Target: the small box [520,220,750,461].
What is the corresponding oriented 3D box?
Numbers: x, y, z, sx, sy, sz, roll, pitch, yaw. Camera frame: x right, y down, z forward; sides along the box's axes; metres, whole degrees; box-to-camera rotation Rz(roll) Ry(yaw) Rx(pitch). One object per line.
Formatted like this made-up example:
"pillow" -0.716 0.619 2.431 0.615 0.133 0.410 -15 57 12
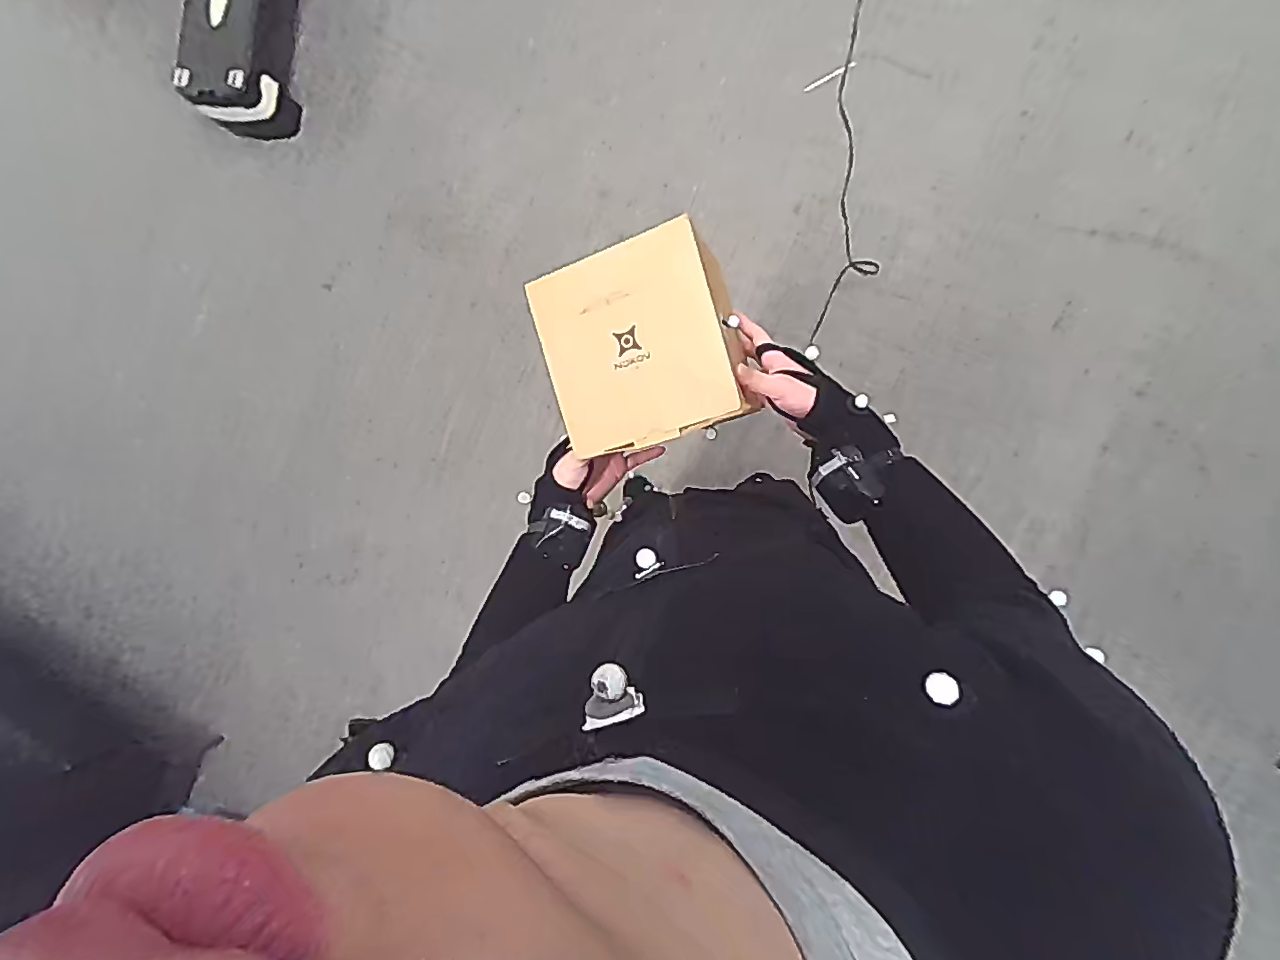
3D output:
"small box" 0.008 -0.130 0.561 0.168 0.176 0.179 -15 92 19
